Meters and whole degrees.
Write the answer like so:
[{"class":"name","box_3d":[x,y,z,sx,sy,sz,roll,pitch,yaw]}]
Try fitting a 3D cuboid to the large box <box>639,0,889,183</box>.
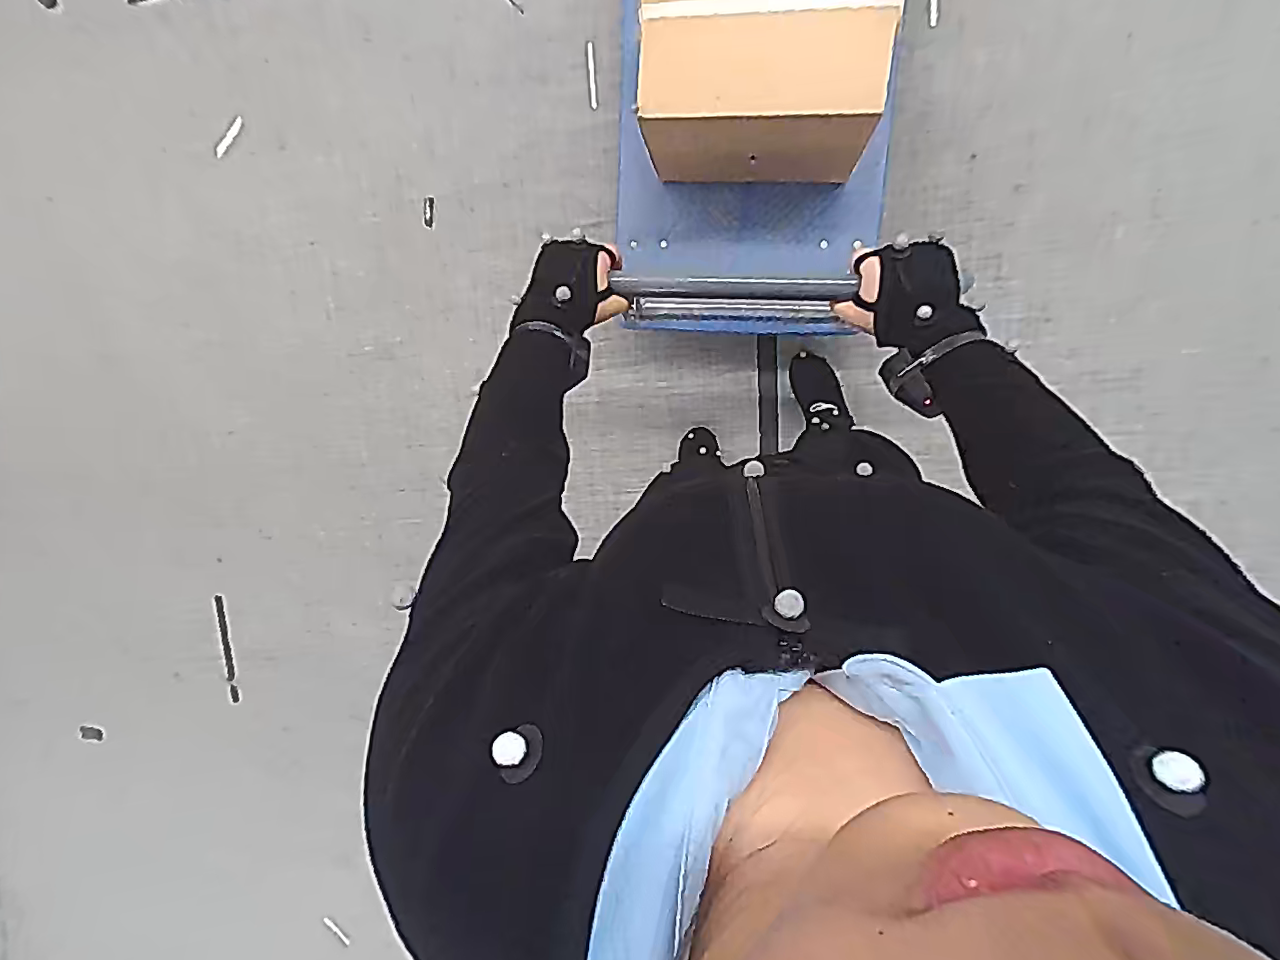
[{"class":"large box","box_3d":[0.227,-0.783,1.029,0.408,0.320,0.320,5,100,10]}]
